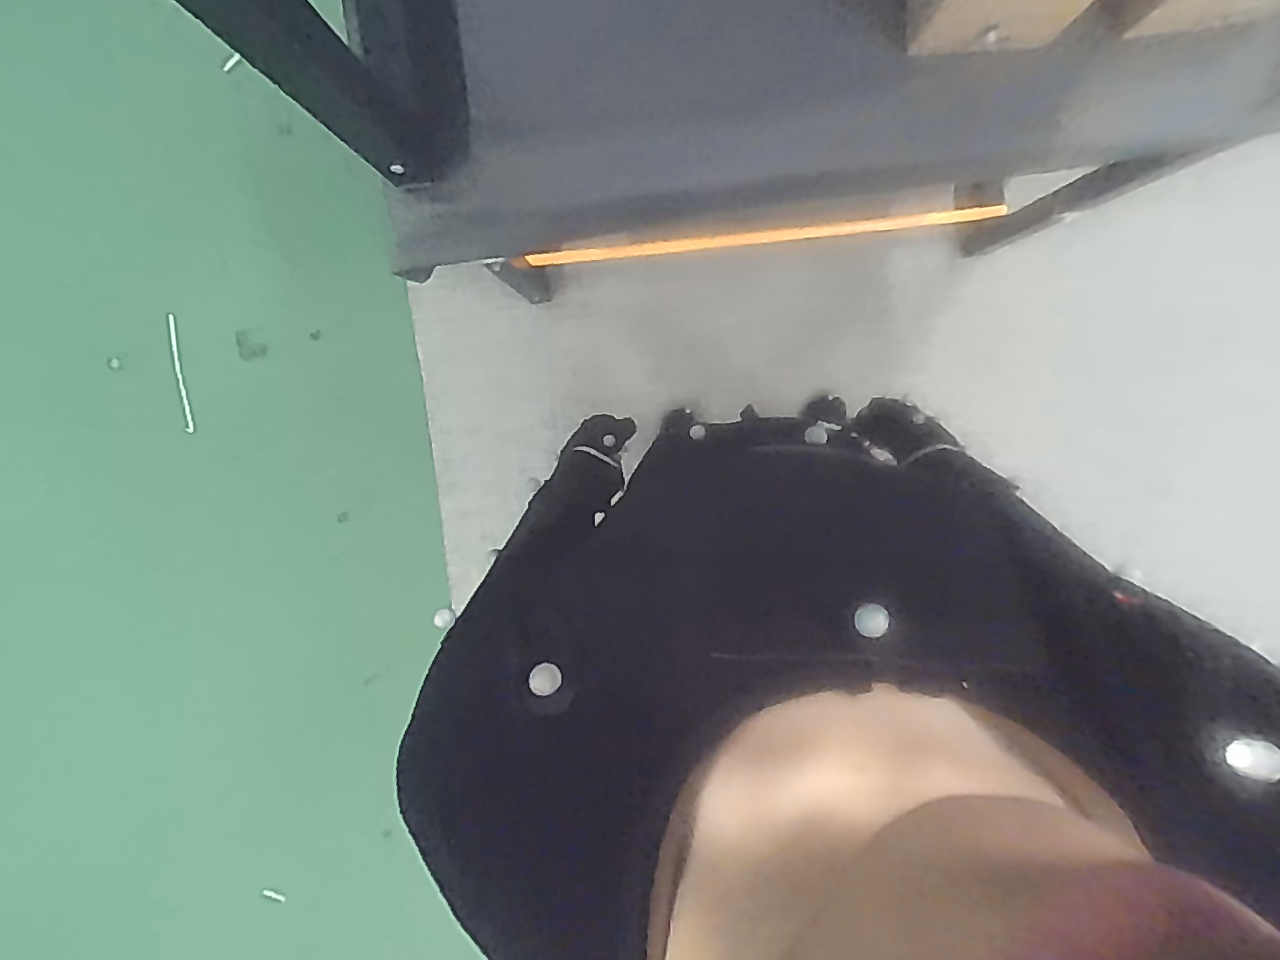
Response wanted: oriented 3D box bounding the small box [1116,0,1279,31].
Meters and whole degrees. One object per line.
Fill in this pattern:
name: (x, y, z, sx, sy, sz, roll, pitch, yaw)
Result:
small box: (0.641, -0.609, 0.558, 0.168, 0.176, 0.179, -6, 97, 2)
